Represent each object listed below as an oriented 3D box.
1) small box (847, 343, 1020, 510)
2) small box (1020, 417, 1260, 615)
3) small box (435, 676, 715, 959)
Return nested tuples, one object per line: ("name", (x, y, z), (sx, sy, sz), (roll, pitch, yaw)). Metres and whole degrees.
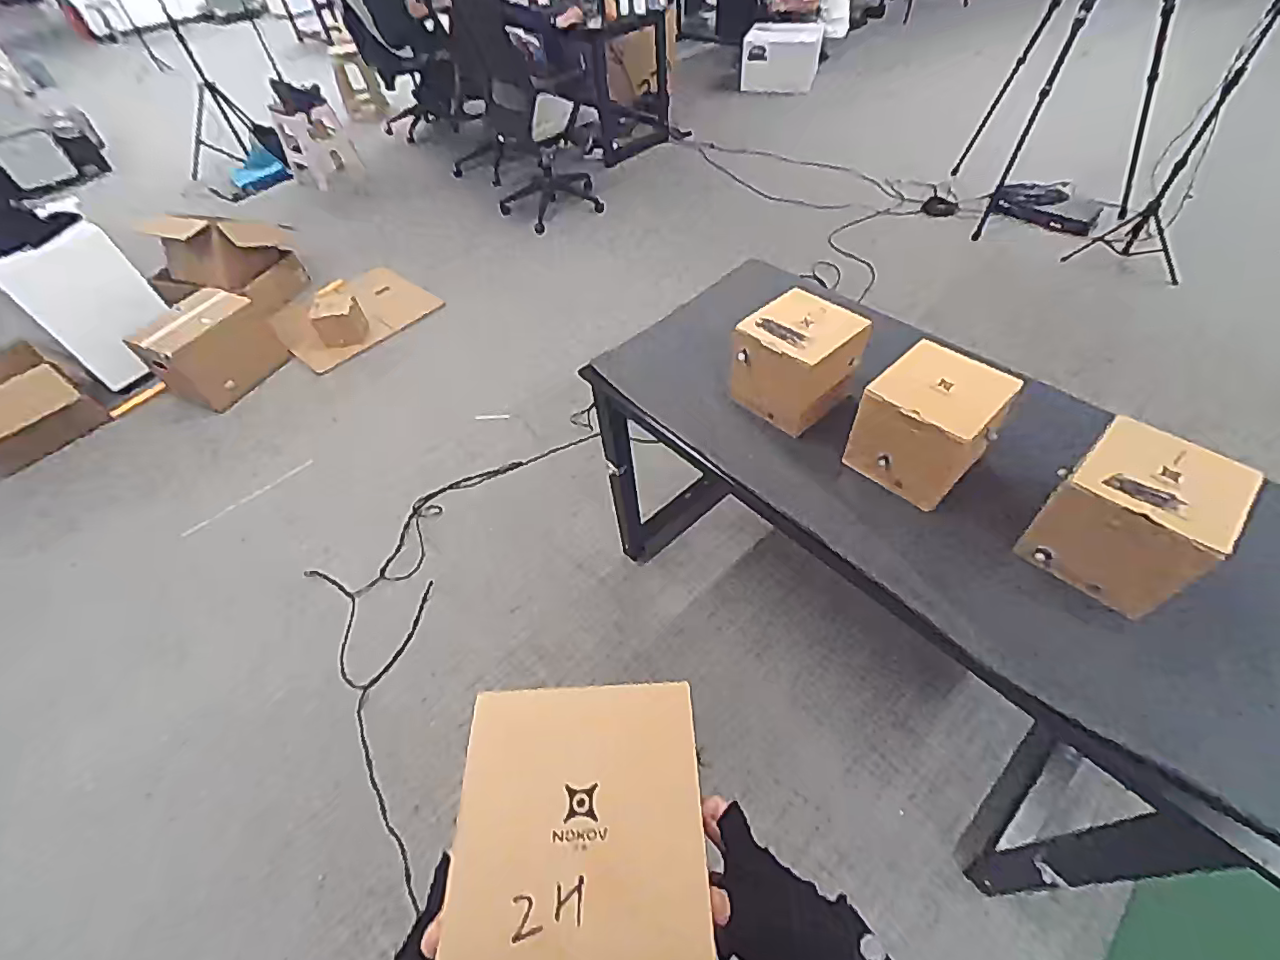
("small box", (0.466, -0.087, 0.886), (0.179, 0.176, 0.168), (-38, 57, -23))
("small box", (0.669, 0.051, 0.747), (0.179, 0.176, 0.168), (-37, 56, -24))
("small box", (-0.037, 0.273, 0.424), (0.168, 0.176, 0.179), (-3, 49, 1))
